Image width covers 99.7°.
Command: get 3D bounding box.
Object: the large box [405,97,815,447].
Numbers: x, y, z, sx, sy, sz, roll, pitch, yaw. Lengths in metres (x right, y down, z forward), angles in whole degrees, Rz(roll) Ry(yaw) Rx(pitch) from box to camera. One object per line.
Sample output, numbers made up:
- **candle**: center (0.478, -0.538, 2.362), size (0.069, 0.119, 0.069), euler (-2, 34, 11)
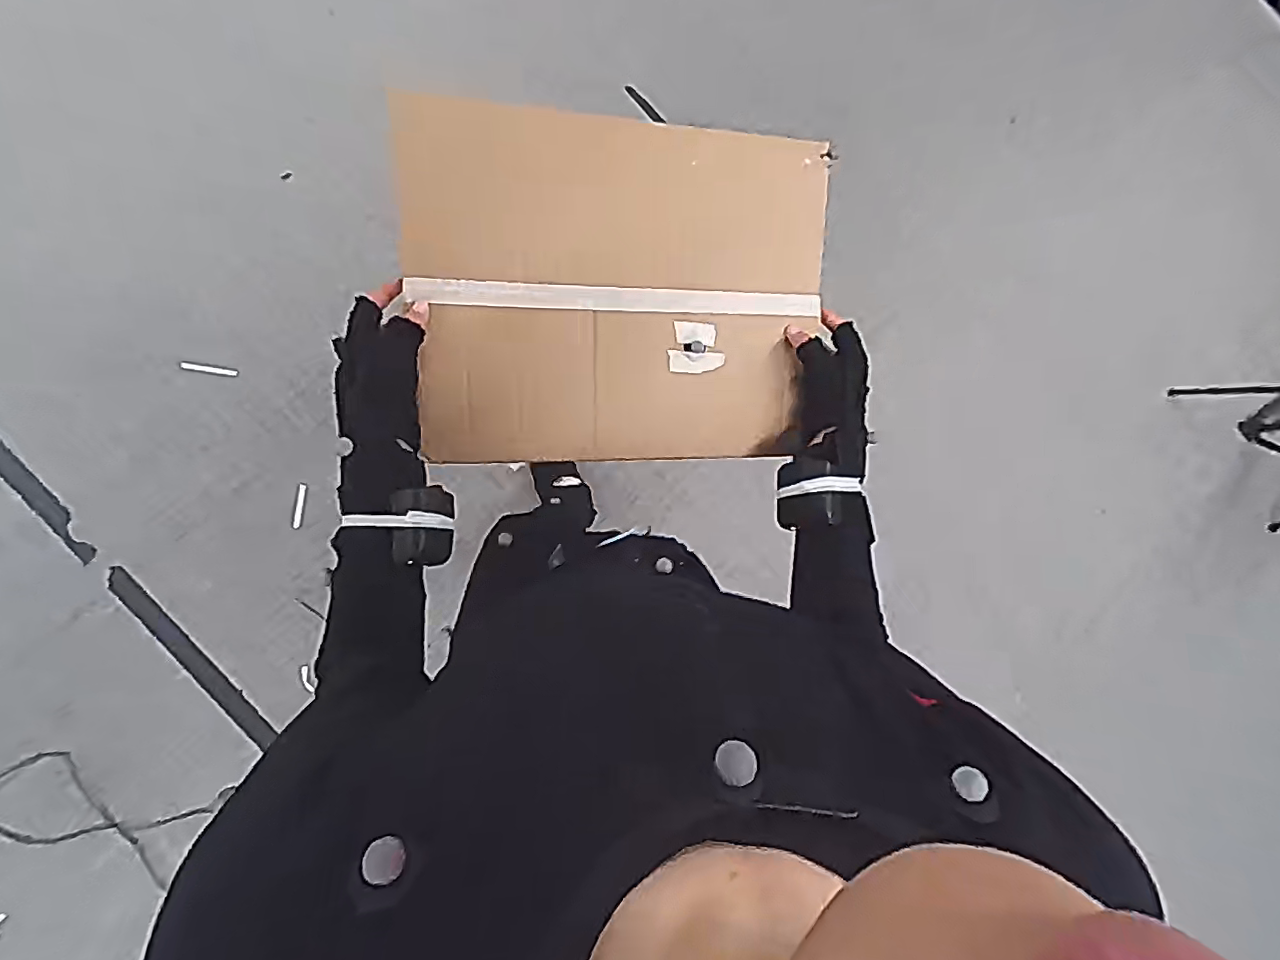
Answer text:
- **large box**: center (-0.048, -0.219, 0.683), size (0.408, 0.320, 0.320), euler (-2, 102, -14)
